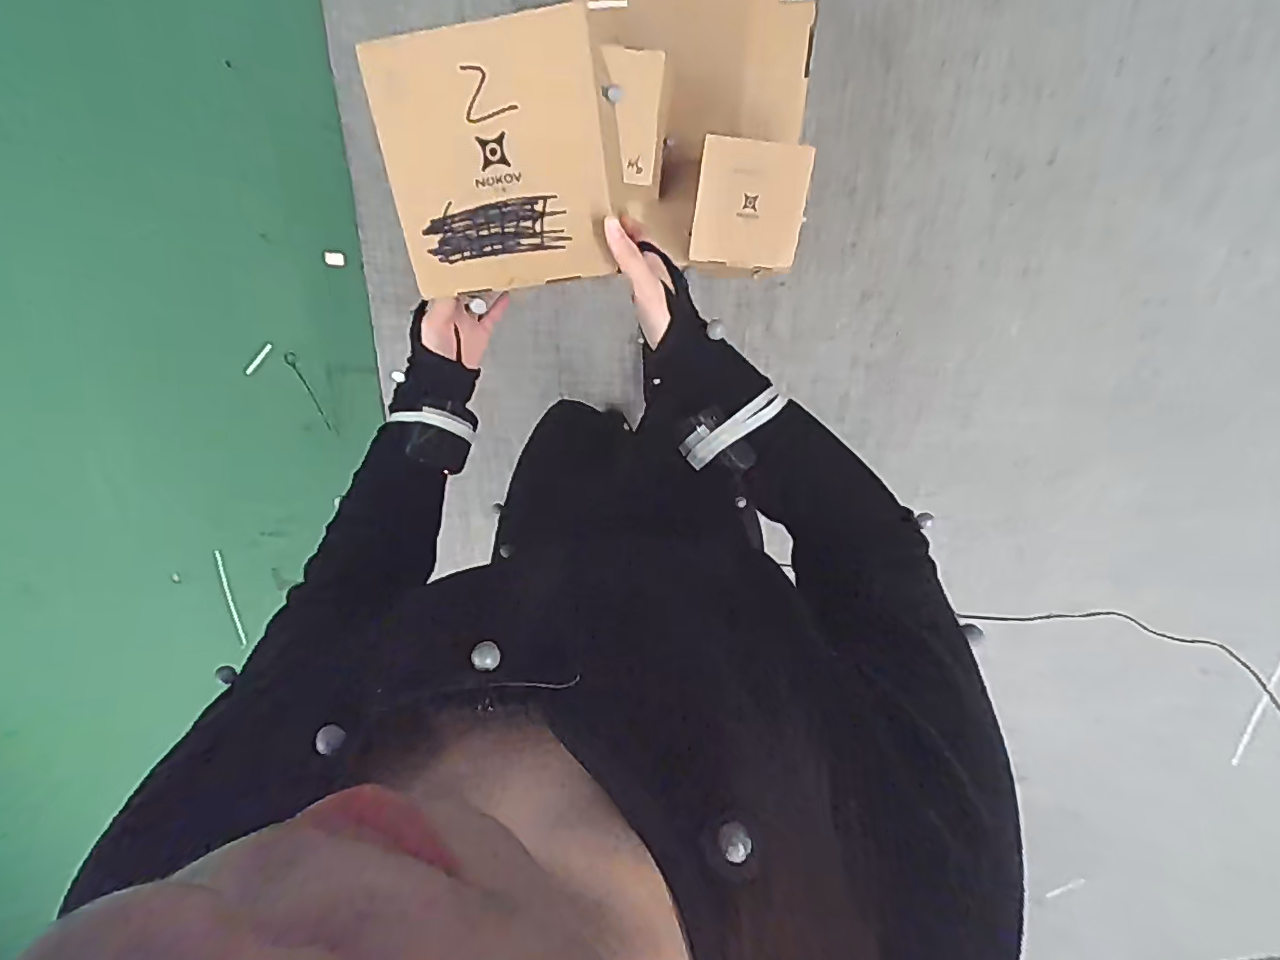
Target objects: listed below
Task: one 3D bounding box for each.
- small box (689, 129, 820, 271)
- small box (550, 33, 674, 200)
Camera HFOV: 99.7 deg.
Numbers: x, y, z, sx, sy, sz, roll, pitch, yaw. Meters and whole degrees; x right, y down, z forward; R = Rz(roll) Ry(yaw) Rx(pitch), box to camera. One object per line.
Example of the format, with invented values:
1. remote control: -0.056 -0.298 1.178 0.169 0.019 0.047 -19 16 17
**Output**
1. small box: 0.177 -0.446 0.890 0.168 0.176 0.179 9 110 1
2. small box: -0.039 -0.568 0.868 0.168 0.176 0.179 9 110 4
